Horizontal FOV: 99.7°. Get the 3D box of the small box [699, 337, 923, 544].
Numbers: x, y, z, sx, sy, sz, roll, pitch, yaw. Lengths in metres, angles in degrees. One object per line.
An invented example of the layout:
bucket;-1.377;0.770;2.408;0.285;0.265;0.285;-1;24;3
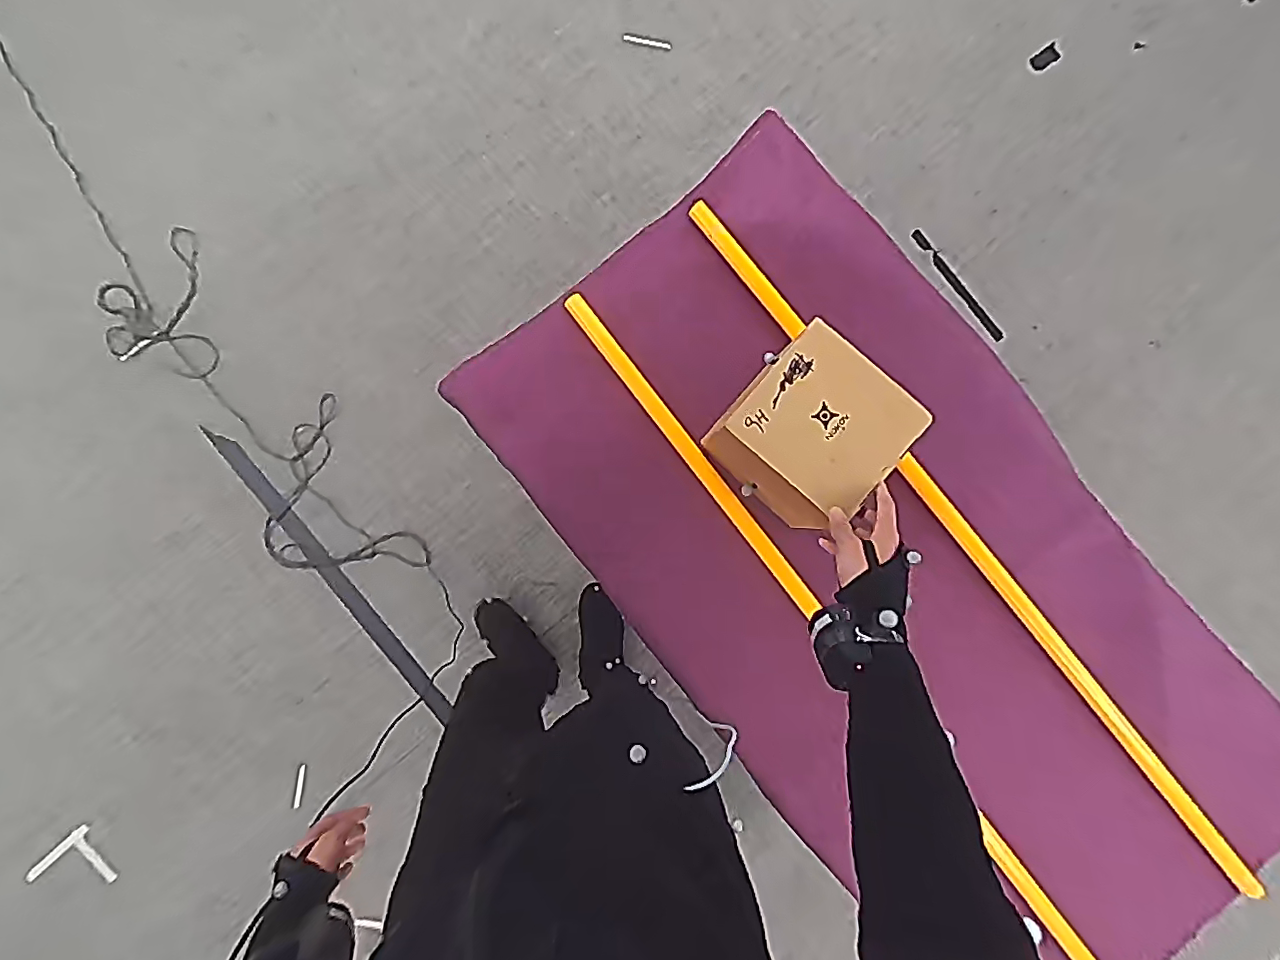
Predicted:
small box;0.198;-0.043;0.680;0.179;0.176;0.168;42;86;0
